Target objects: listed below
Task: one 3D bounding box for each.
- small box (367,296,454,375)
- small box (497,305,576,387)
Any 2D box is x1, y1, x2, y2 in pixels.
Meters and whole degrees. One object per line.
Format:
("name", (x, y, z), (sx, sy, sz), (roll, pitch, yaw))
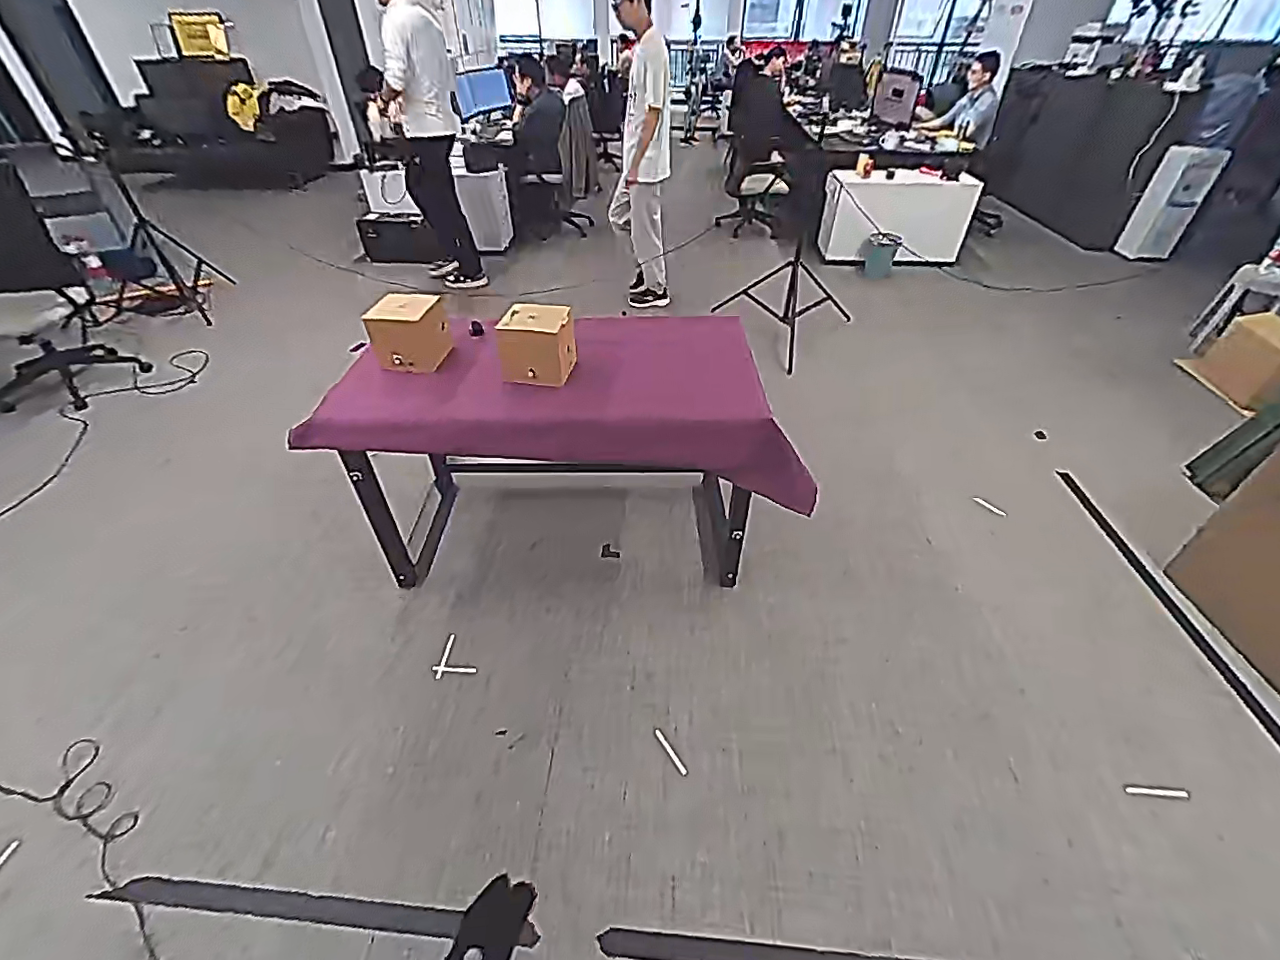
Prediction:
("small box", (-0.672, -0.431, 1.607), (0.168, 0.176, 0.179), (3, 42, 5))
("small box", (-0.287, -0.382, 1.551), (0.179, 0.176, 0.168), (7, 41, 7))
